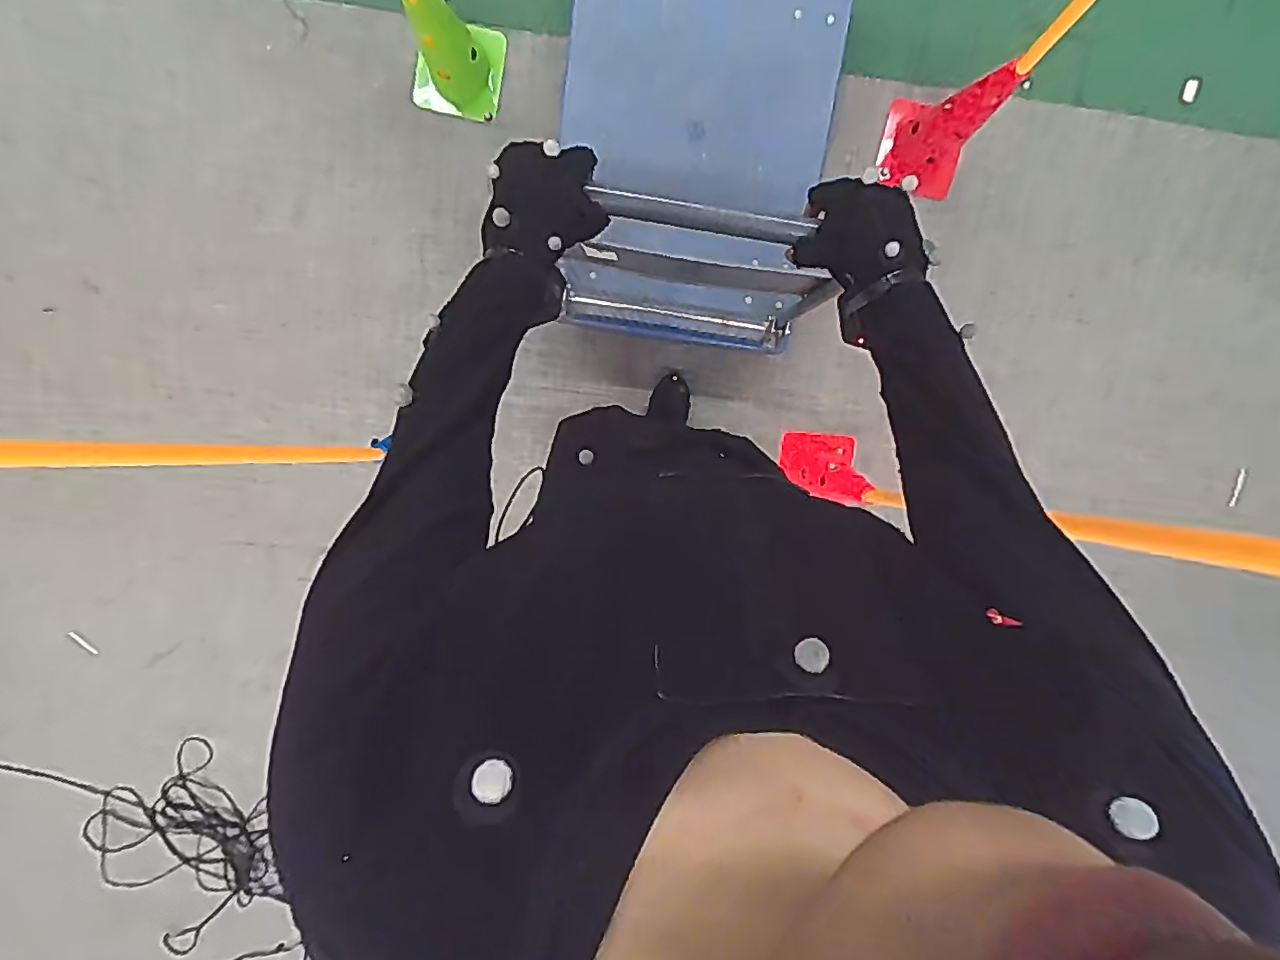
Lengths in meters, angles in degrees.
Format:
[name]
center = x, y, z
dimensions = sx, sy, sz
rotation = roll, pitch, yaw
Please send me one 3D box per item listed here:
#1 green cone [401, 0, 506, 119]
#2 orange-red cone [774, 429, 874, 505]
[green cone]
center = -0.428, -0.956, 1.120
dimensions = 0.202, 0.368, 0.200
rotation = 11, 99, -2
[orange-red cone]
center = 0.472, -0.008, 1.304
dimensions = 0.199, 0.360, 0.198
rotation = 6, 99, 0
